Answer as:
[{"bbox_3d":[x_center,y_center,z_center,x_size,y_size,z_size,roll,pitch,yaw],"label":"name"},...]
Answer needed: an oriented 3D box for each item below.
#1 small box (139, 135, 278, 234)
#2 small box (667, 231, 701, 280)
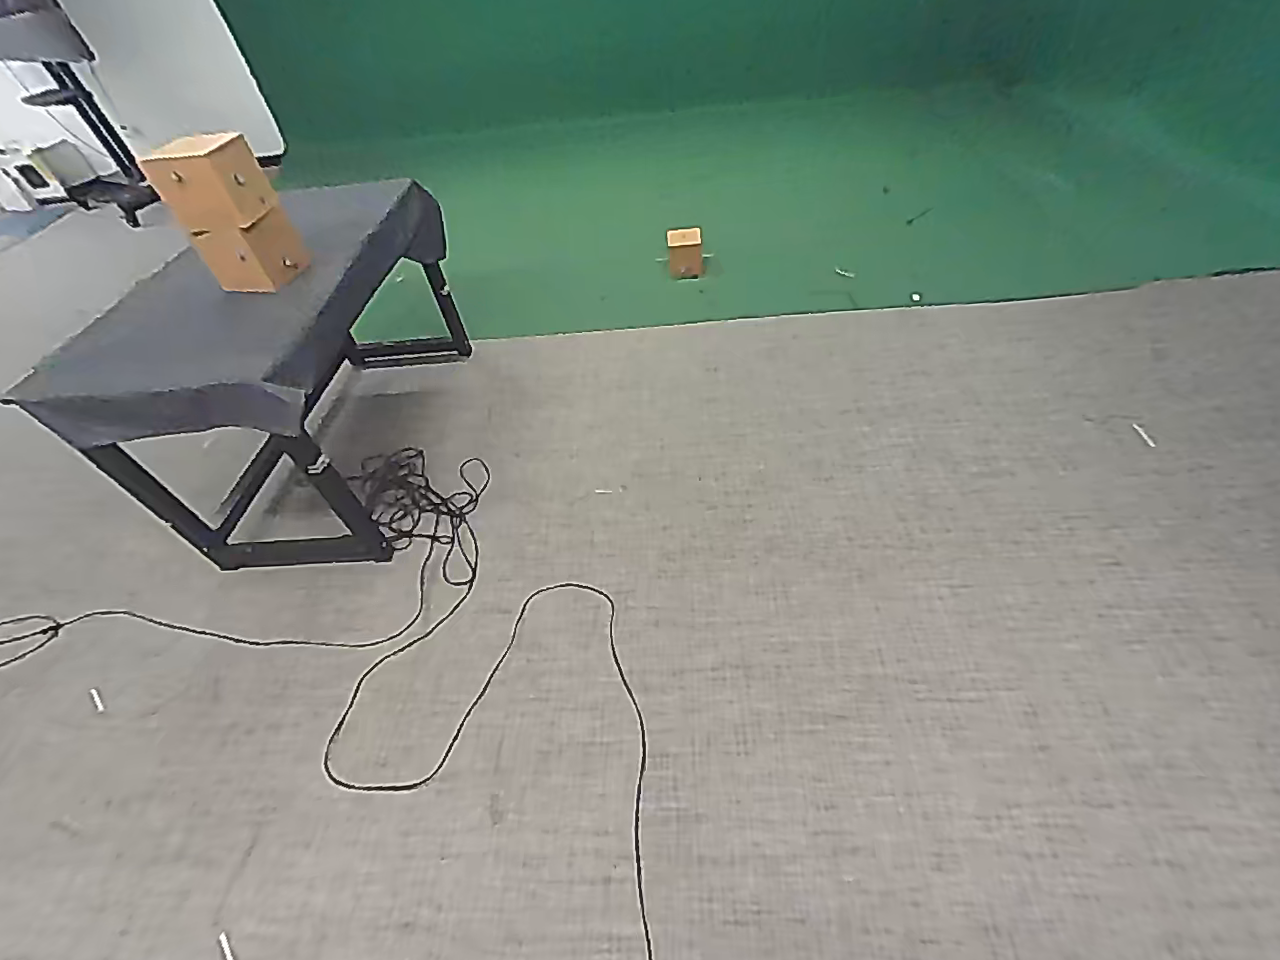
[{"bbox_3d":[-1.054,-0.731,1.344,0.179,0.176,0.168,-2,48,6],"label":"small box"},{"bbox_3d":[0.225,-1.153,2.779,0.168,0.176,0.179,-4,48,5],"label":"small box"}]
